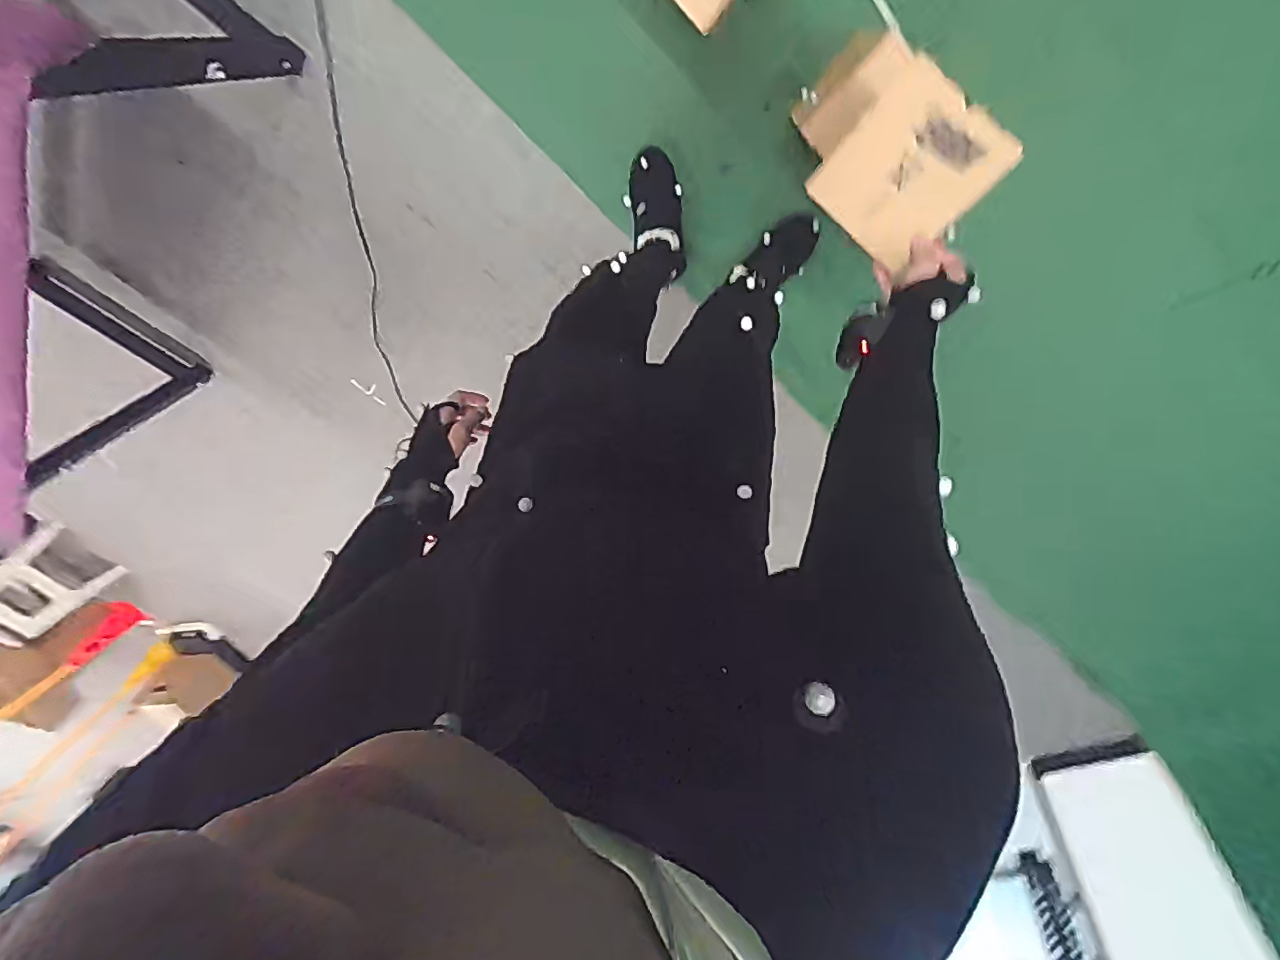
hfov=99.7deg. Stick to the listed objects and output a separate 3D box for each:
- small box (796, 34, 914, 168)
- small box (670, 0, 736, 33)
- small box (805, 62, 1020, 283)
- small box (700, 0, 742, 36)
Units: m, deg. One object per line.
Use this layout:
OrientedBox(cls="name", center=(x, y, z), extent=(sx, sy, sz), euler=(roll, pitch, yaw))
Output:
OrientedBox(cls="small box", center=(0.389, -0.618, 0.932), extent=(0.168, 0.176, 0.179), euler=(38, 126, -19))
OrientedBox(cls="small box", center=(0.094, -0.828, 0.827), extent=(0.179, 0.176, 0.168), euler=(38, 126, -18))
OrientedBox(cls="small box", center=(0.347, -0.386, 0.713), extent=(0.168, 0.176, 0.179), euler=(47, 121, 3))
OrientedBox(cls="small box", center=(0.126, -0.930, 0.953), extent=(0.168, 0.176, 0.179), euler=(38, 125, -18))
